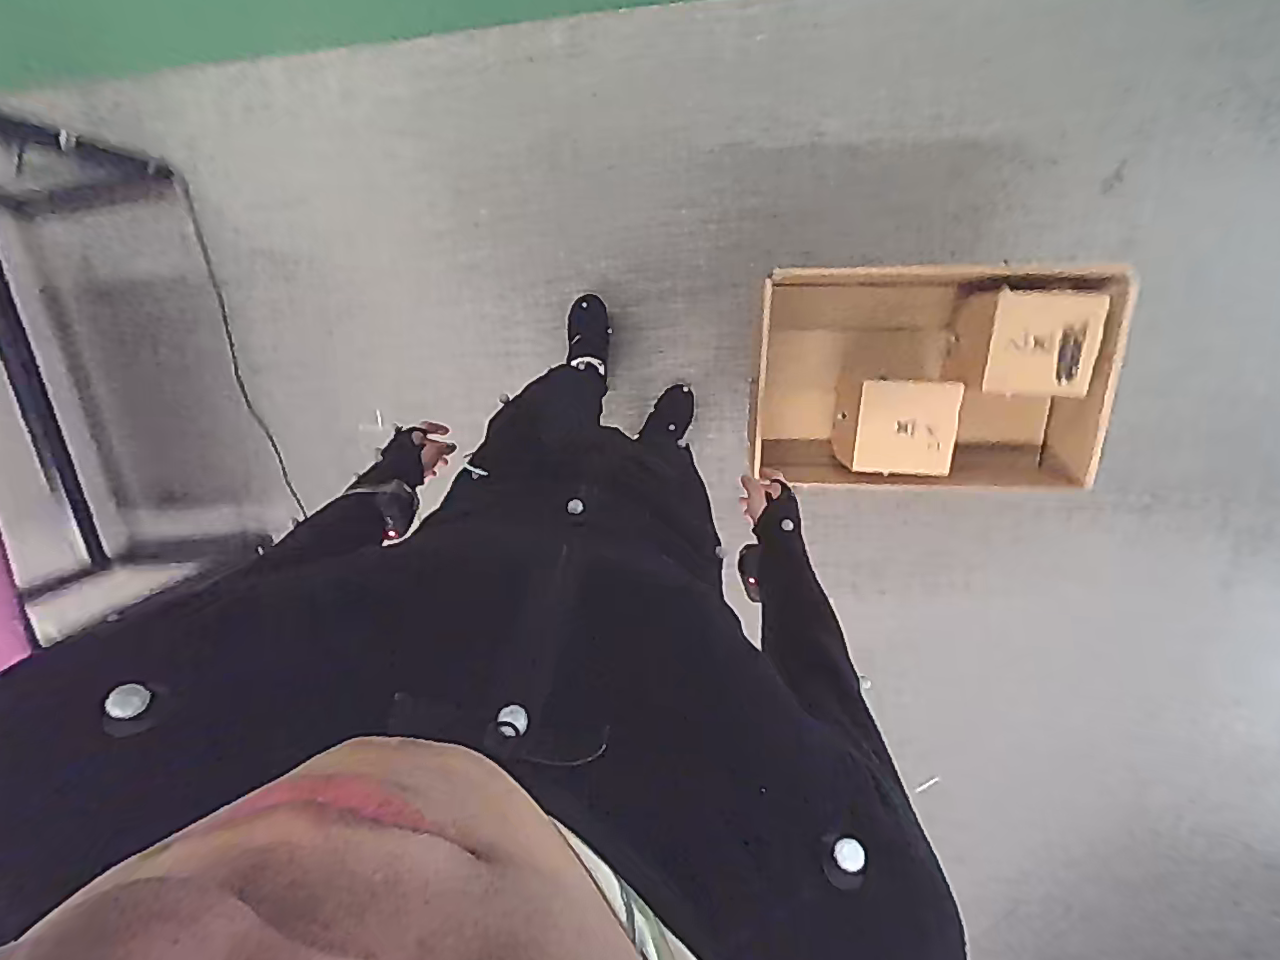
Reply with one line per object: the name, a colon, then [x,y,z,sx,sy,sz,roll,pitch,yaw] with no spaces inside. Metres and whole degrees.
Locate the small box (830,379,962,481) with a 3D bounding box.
small box: [0.478,-0.103,1.041,0.179,0.176,0.168,4,106,4]
